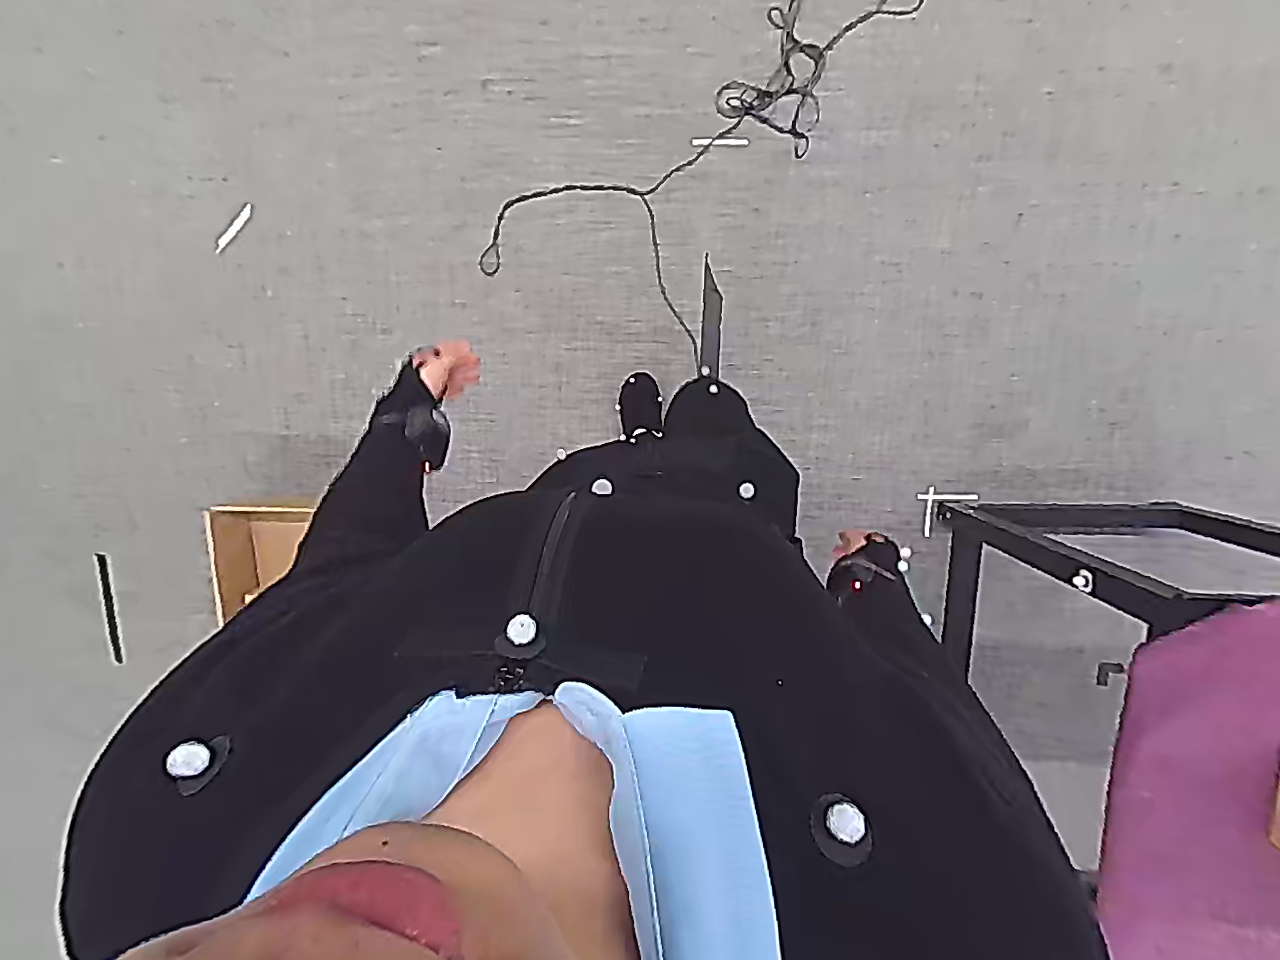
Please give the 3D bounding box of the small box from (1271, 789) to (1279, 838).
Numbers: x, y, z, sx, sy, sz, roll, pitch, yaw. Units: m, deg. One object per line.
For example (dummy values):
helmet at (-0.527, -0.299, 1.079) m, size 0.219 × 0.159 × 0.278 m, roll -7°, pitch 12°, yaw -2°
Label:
small box at (0.952, 0.429, 0.651) m, size 0.179 × 0.176 × 0.168 m, roll -2°, pitch 100°, yaw 6°
